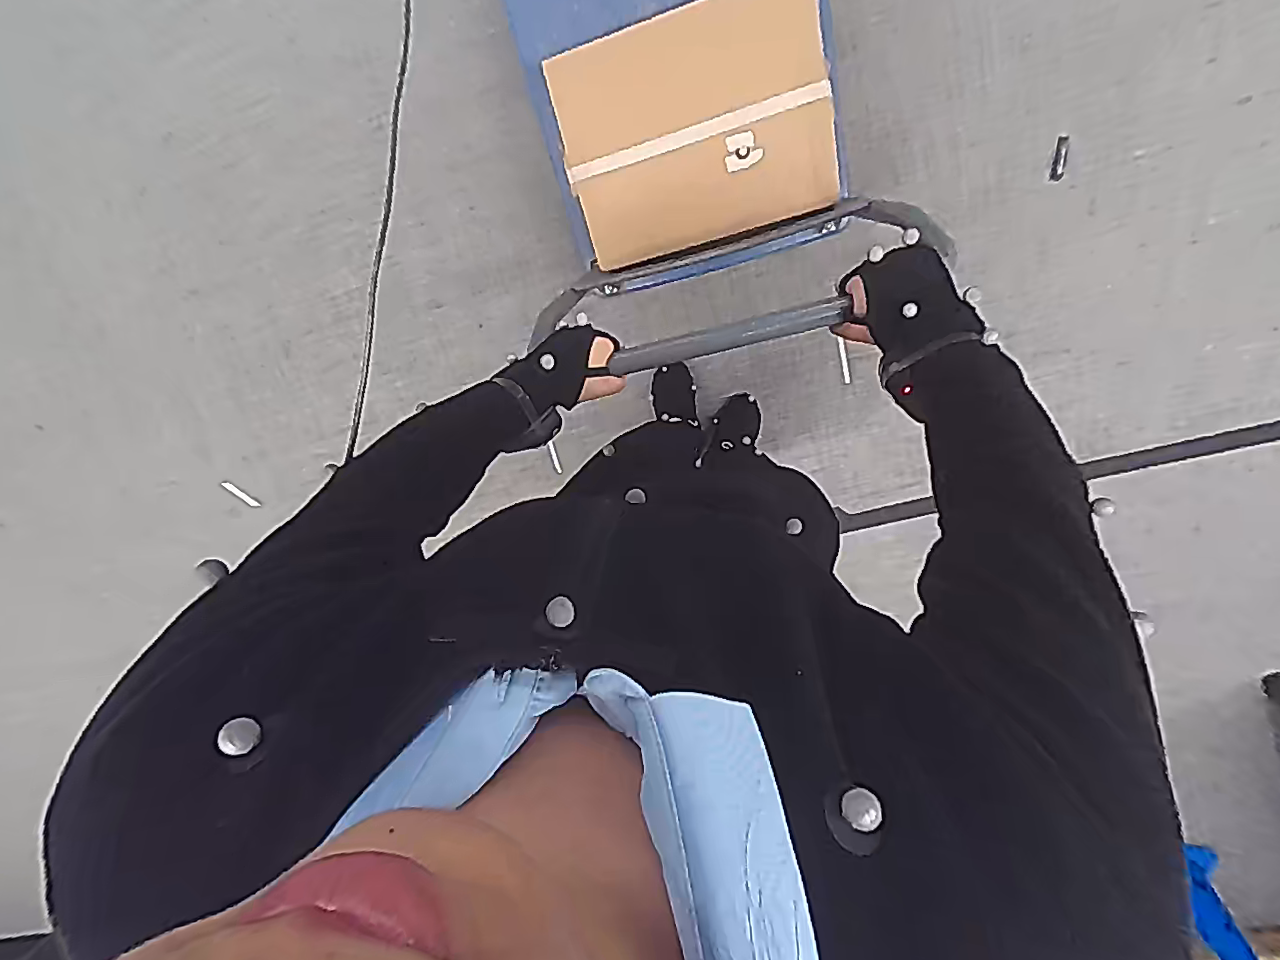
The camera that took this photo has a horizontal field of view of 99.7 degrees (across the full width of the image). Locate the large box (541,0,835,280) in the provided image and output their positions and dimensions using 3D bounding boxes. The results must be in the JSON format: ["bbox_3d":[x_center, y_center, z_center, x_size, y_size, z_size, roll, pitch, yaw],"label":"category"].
[{"bbox_3d":[0.091,-0.580,0.969,0.408,0.320,0.320,-12,113,12],"label":"large box"}]
